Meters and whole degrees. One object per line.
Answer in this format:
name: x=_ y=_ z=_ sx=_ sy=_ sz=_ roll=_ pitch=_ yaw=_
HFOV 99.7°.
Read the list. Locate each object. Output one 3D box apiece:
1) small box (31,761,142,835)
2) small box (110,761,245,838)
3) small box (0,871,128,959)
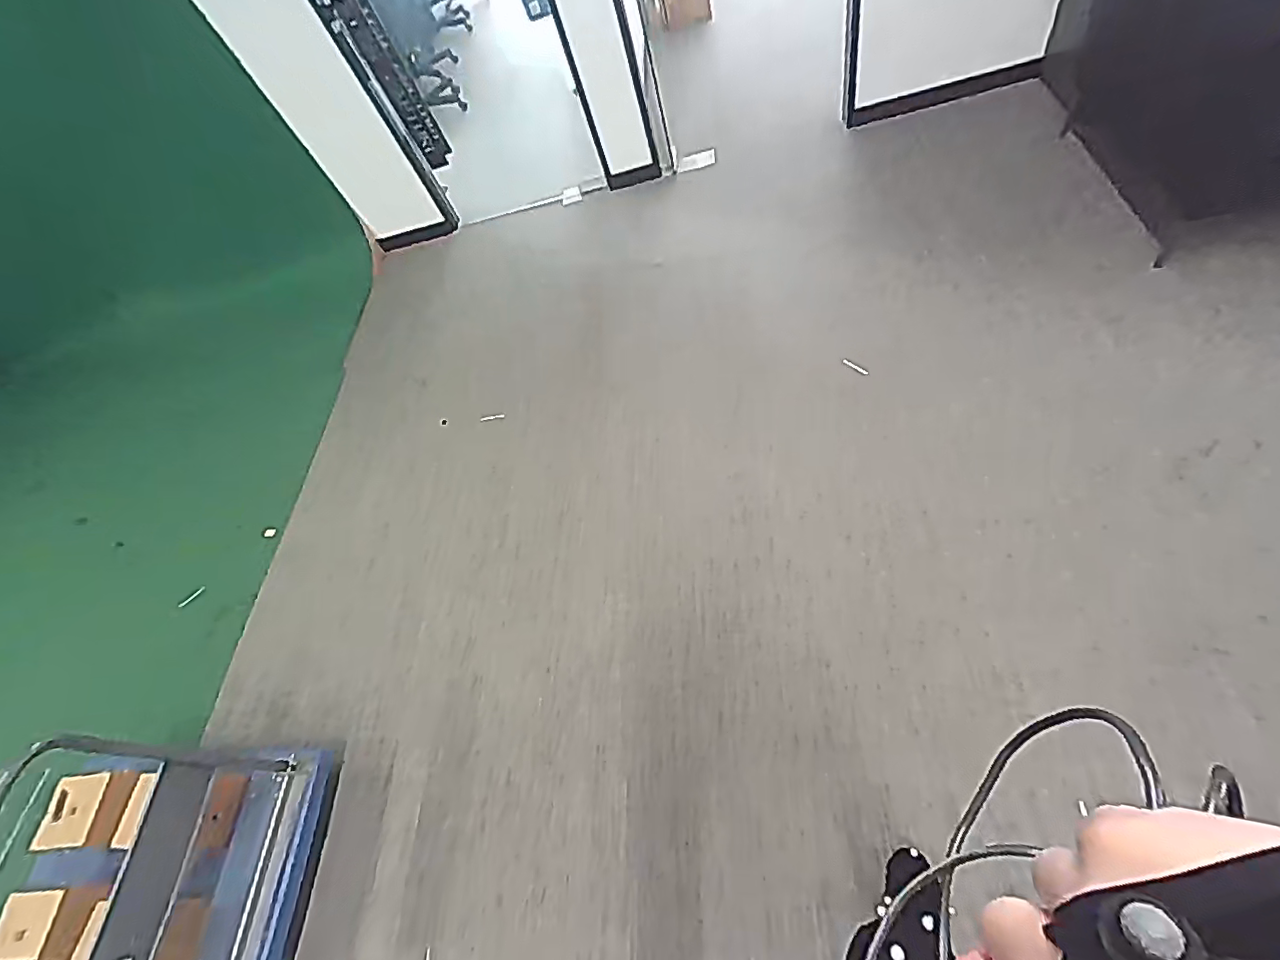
small box: x=-1.468 y=0.873 z=1.482 sx=0.179 sy=0.176 sz=0.168 roll=-10 pitch=58 yaw=10
small box: x=-1.206 y=0.841 z=1.424 sx=0.179 sy=0.176 sz=0.168 roll=-6 pitch=58 yaw=12
small box: x=-1.454 y=1.085 z=1.348 sx=0.179 sy=0.176 sz=0.168 roll=-10 pitch=56 yaw=11
